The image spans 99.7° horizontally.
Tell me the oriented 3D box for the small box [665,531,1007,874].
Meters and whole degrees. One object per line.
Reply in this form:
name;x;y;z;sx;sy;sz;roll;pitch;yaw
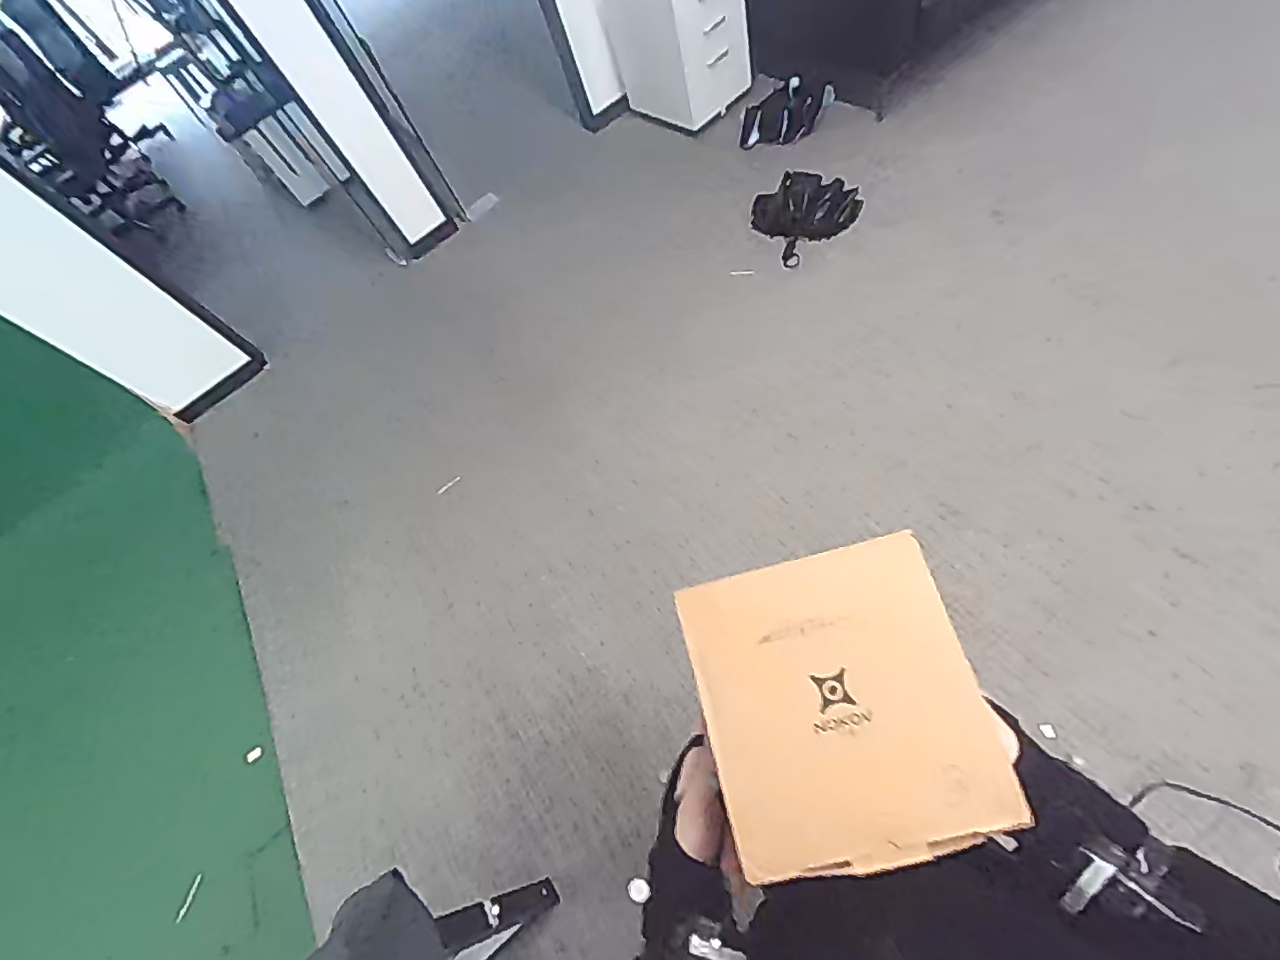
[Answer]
small box;0.125;0.156;0.412;0.168;0.176;0.179;-15;70;4
